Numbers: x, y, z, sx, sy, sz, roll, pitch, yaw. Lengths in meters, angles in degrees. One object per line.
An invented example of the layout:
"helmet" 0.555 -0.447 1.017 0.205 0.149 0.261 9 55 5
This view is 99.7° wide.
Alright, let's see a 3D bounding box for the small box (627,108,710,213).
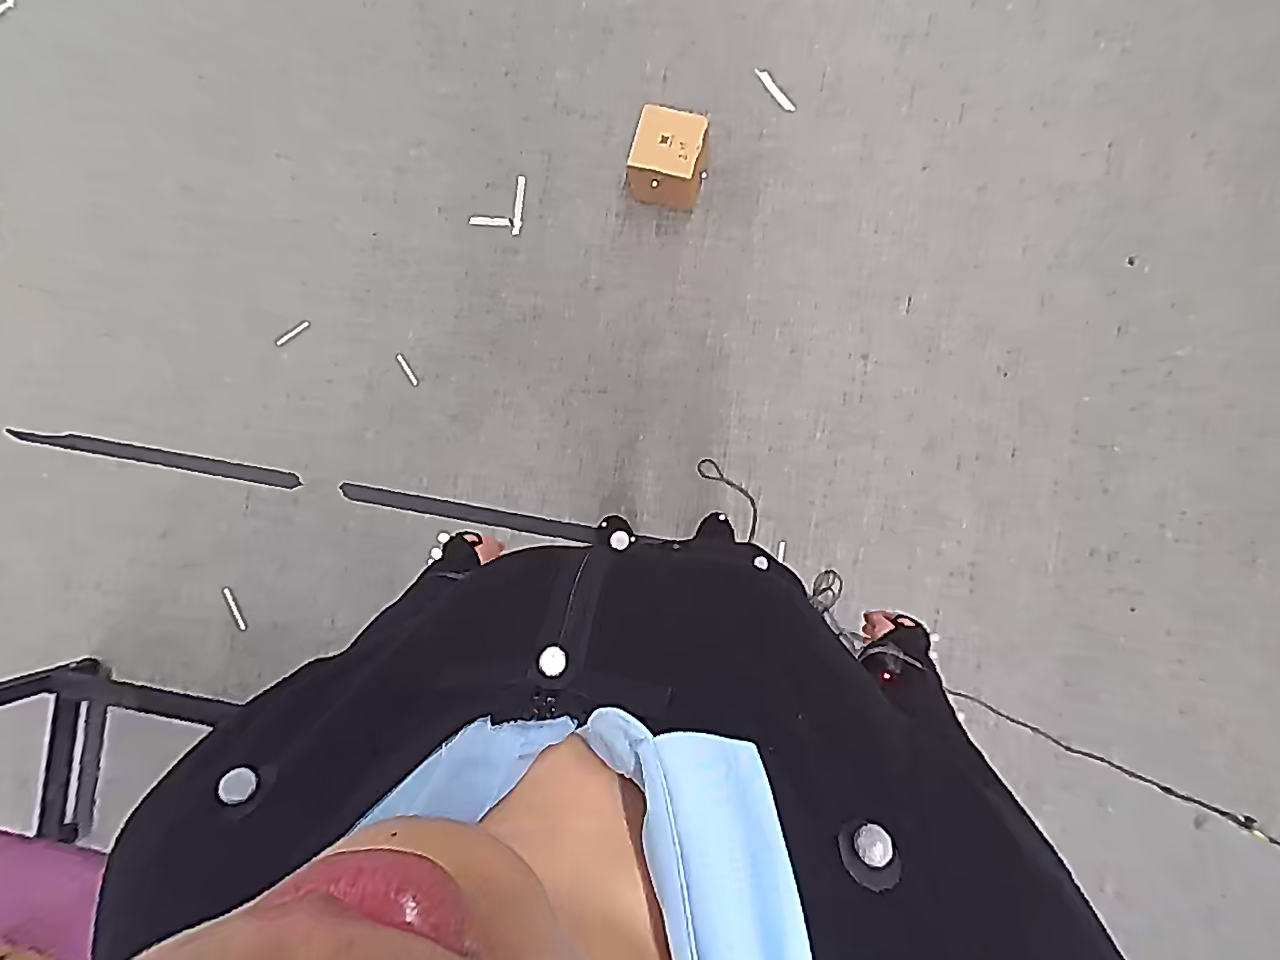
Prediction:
"small box" 0.082 -0.852 1.457 0.179 0.176 0.168 18 91 7
